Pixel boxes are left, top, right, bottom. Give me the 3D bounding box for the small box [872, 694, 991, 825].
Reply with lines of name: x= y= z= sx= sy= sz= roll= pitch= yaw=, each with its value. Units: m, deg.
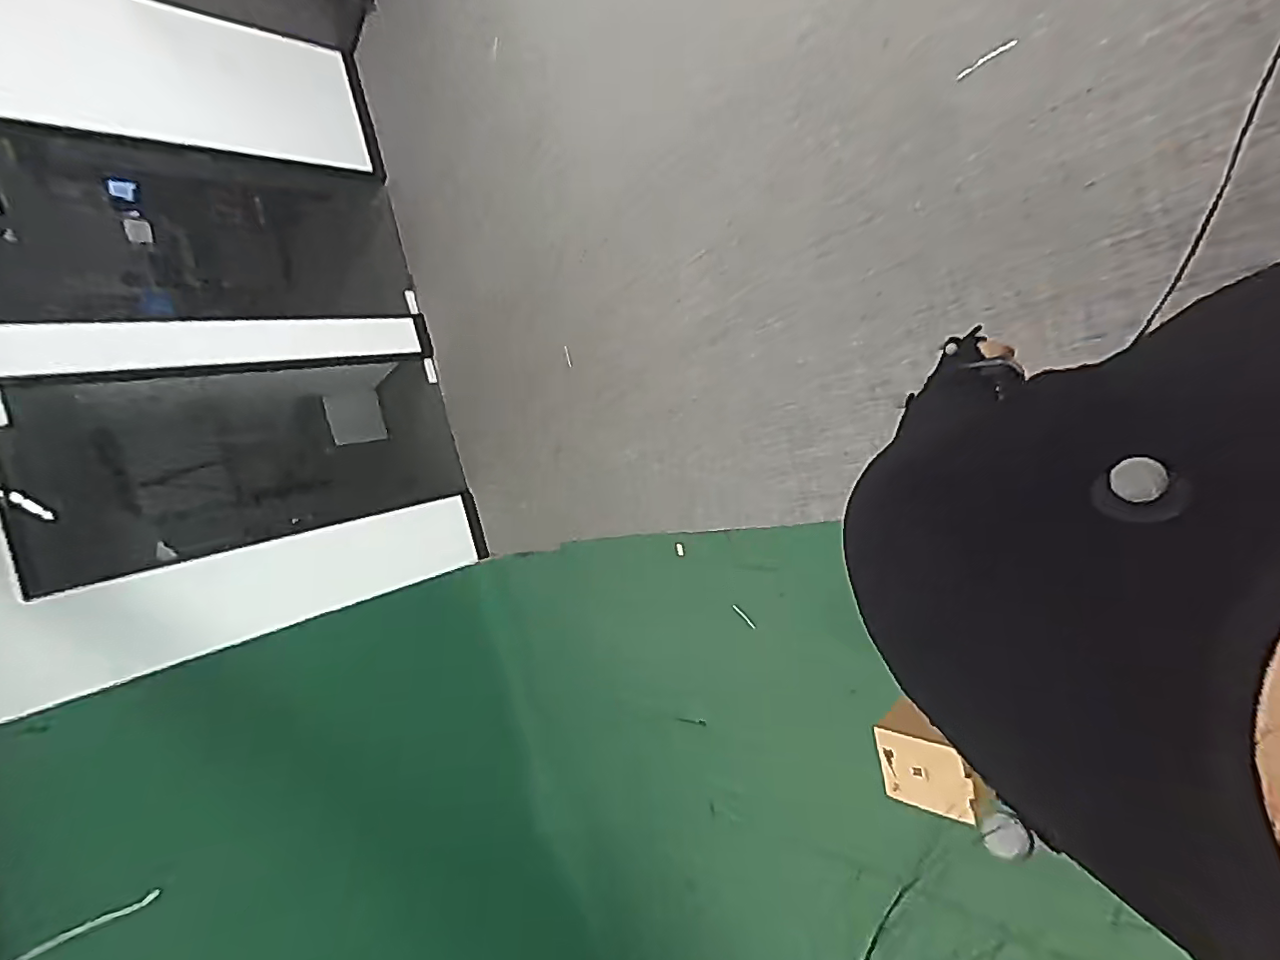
small box: x=0.631 y=0.583 z=1.159 sx=0.179 sy=0.176 sz=0.168 roll=-7 pitch=96 yaw=48
